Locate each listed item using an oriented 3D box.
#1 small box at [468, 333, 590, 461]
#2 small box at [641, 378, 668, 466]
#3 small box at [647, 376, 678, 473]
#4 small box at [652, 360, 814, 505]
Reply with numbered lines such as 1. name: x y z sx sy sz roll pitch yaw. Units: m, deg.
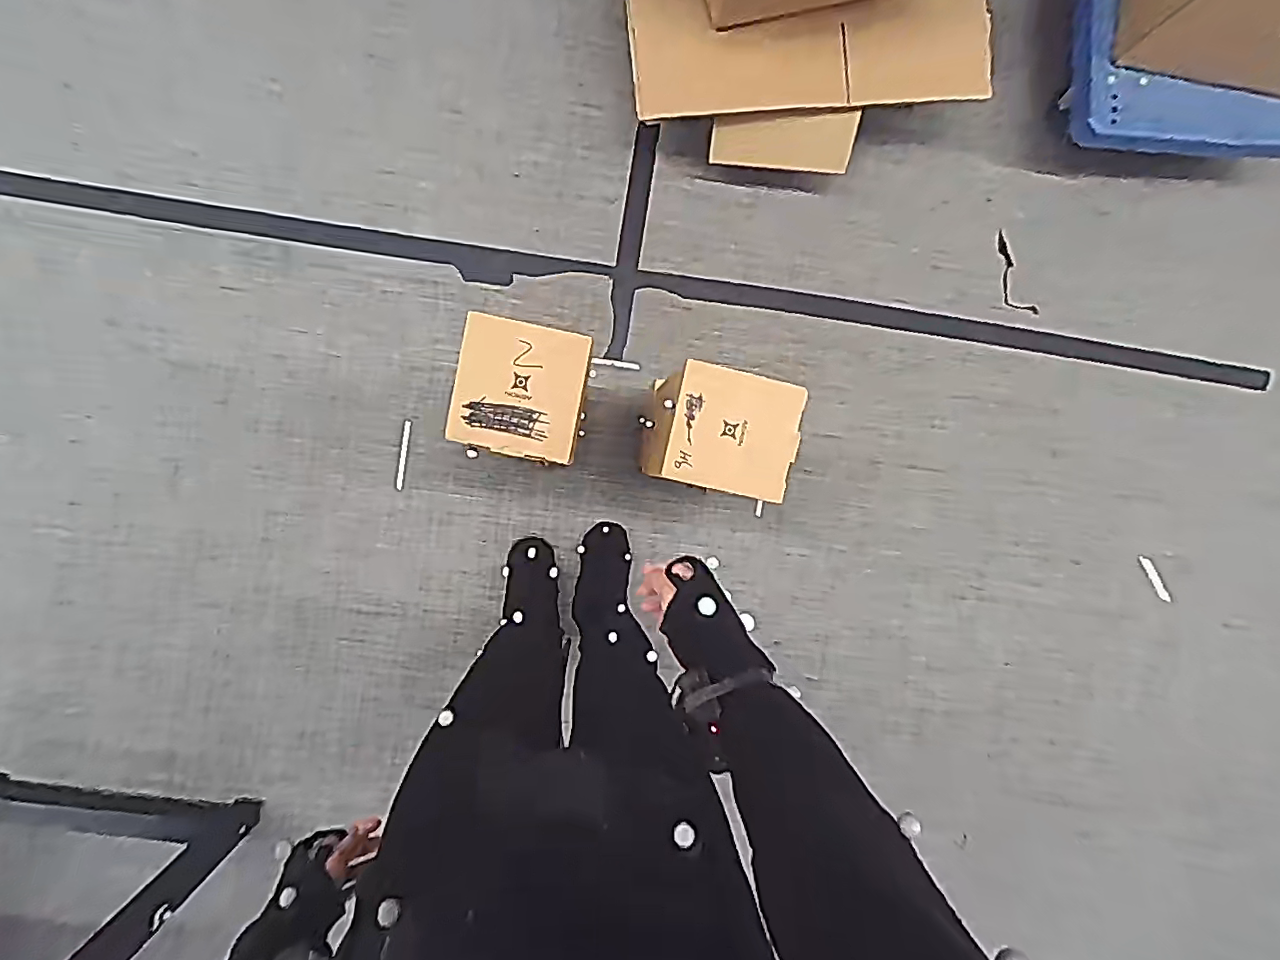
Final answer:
1. small box: -0.185 -0.135 0.946 0.168 0.176 0.179 12 90 -7
2. small box: 0.097 -0.105 1.133 0.168 0.176 0.179 8 91 -6
3. small box: 0.113 -0.079 0.970 0.179 0.176 0.168 10 92 -6
4. small box: 0.127 -0.068 0.807 0.179 0.176 0.168 13 92 -7
